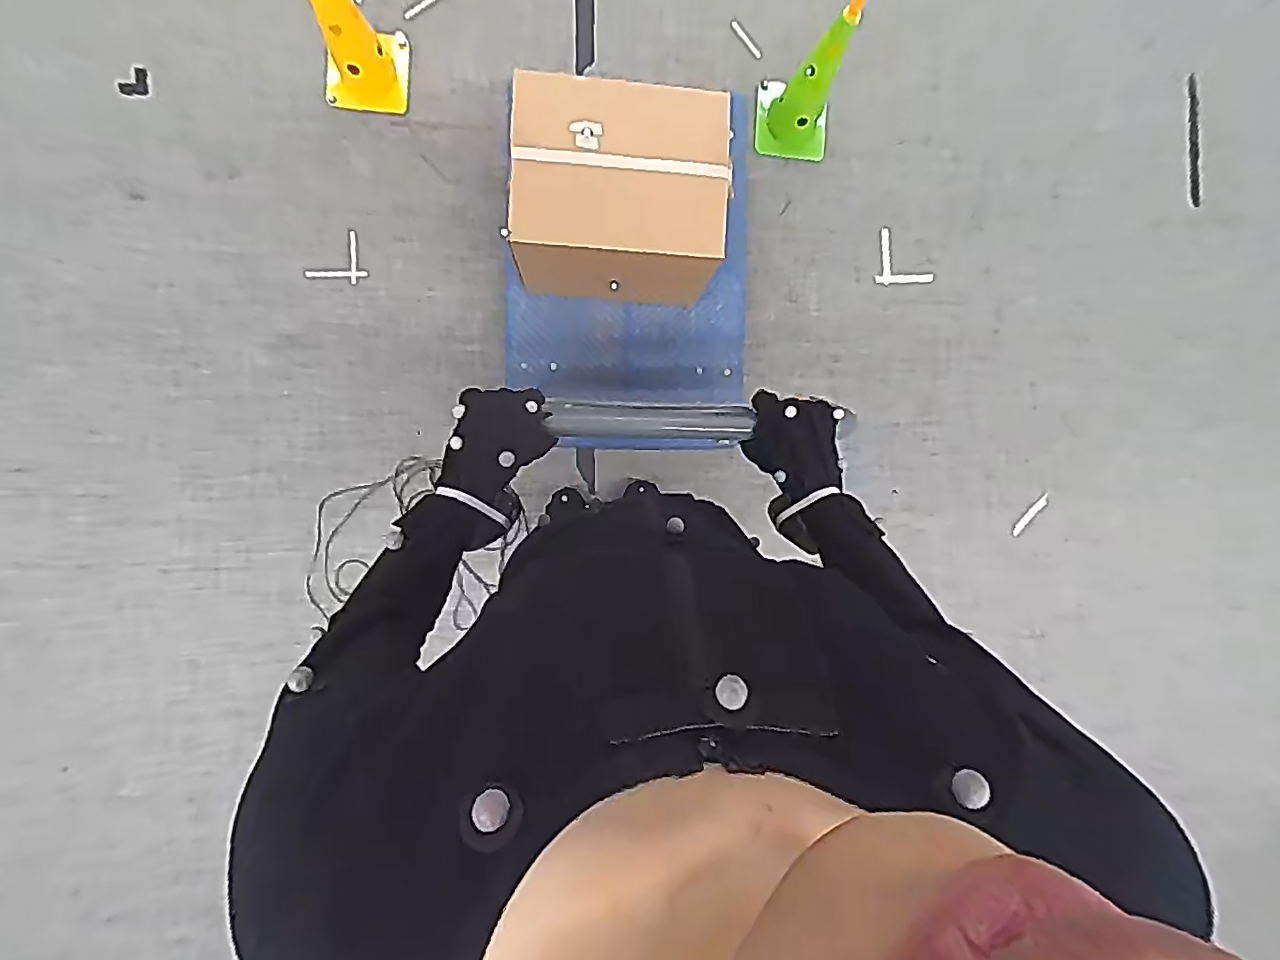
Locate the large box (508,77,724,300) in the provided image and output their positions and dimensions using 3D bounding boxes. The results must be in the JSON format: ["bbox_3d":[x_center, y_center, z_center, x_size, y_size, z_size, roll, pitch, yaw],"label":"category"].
[{"bbox_3d":[-0.051,-0.589,1.158,0.408,0.320,0.320,2,91,-4],"label":"large box"}]

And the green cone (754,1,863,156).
[{"bbox_3d":[0.439,-1.013,1.344,0.202,0.368,0.200,3,90,-7],"label":"green cone"}]
